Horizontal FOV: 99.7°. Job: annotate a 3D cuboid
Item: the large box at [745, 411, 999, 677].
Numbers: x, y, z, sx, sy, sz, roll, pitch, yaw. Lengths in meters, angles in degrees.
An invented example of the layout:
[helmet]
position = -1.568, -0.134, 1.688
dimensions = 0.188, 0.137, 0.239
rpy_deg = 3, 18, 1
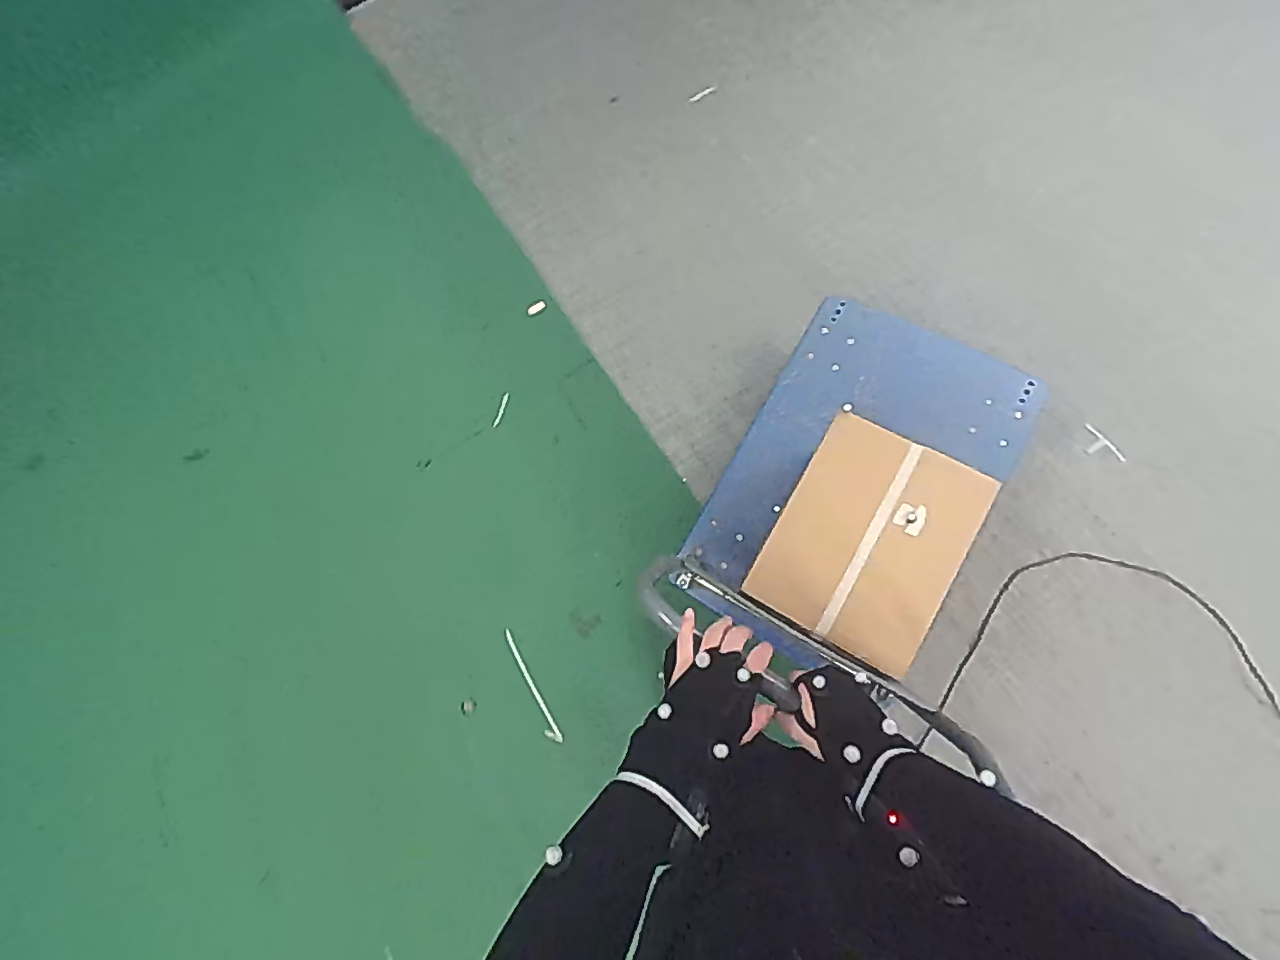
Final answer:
[large box]
position = 0.444, 0.139, 1.125
dimensions = 0.320, 0.320, 0.408
rpy_deg = 29, 82, 14
